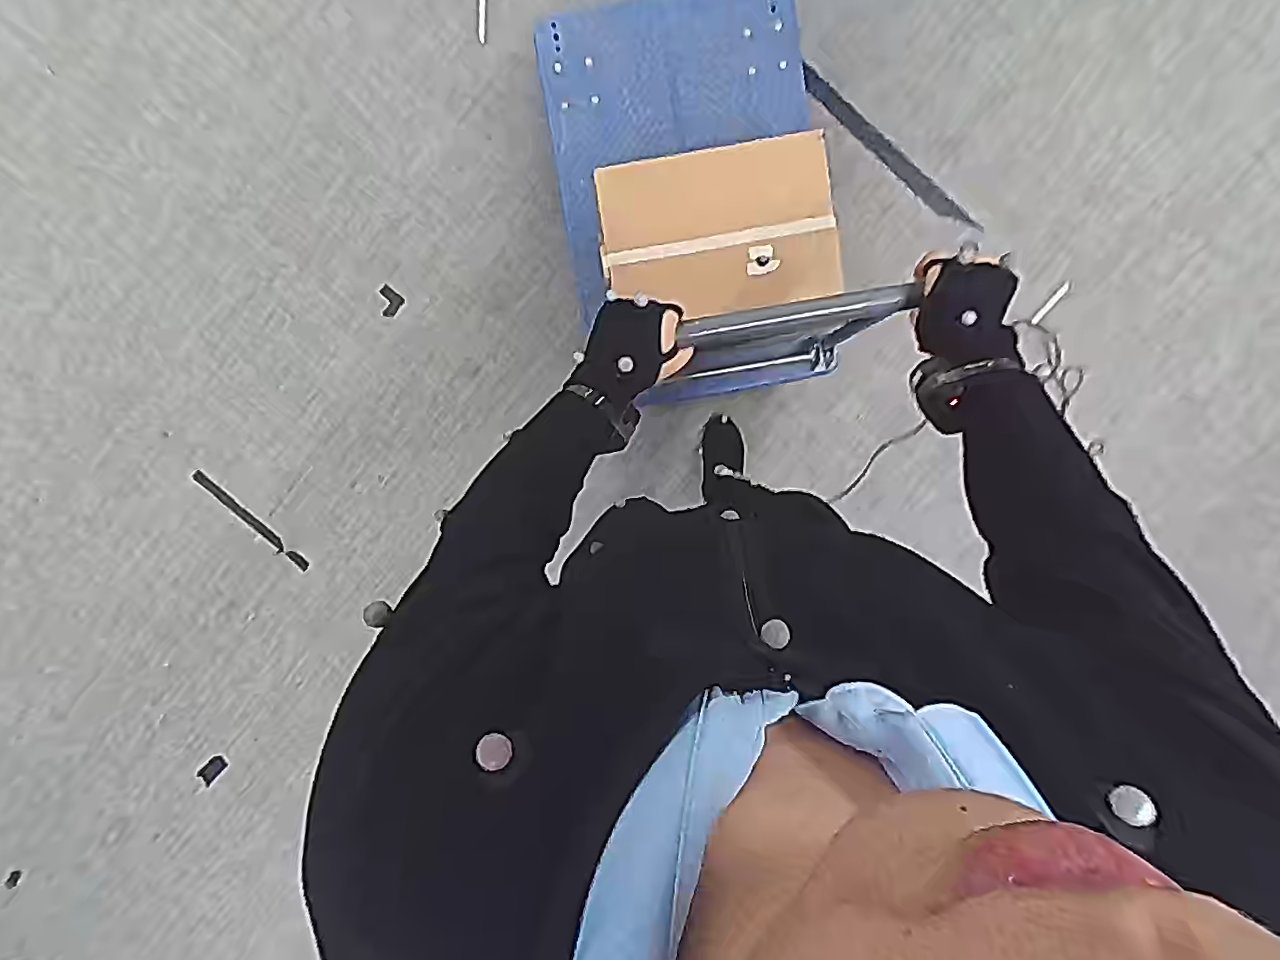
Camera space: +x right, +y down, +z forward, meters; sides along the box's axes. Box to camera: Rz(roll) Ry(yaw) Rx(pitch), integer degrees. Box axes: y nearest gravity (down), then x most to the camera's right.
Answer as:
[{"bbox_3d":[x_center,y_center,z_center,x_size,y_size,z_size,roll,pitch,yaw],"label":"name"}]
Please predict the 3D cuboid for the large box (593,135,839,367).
[{"bbox_3d":[0.136,-0.430,1.102,0.408,0.320,0.320,-9,97,1],"label":"large box"}]
